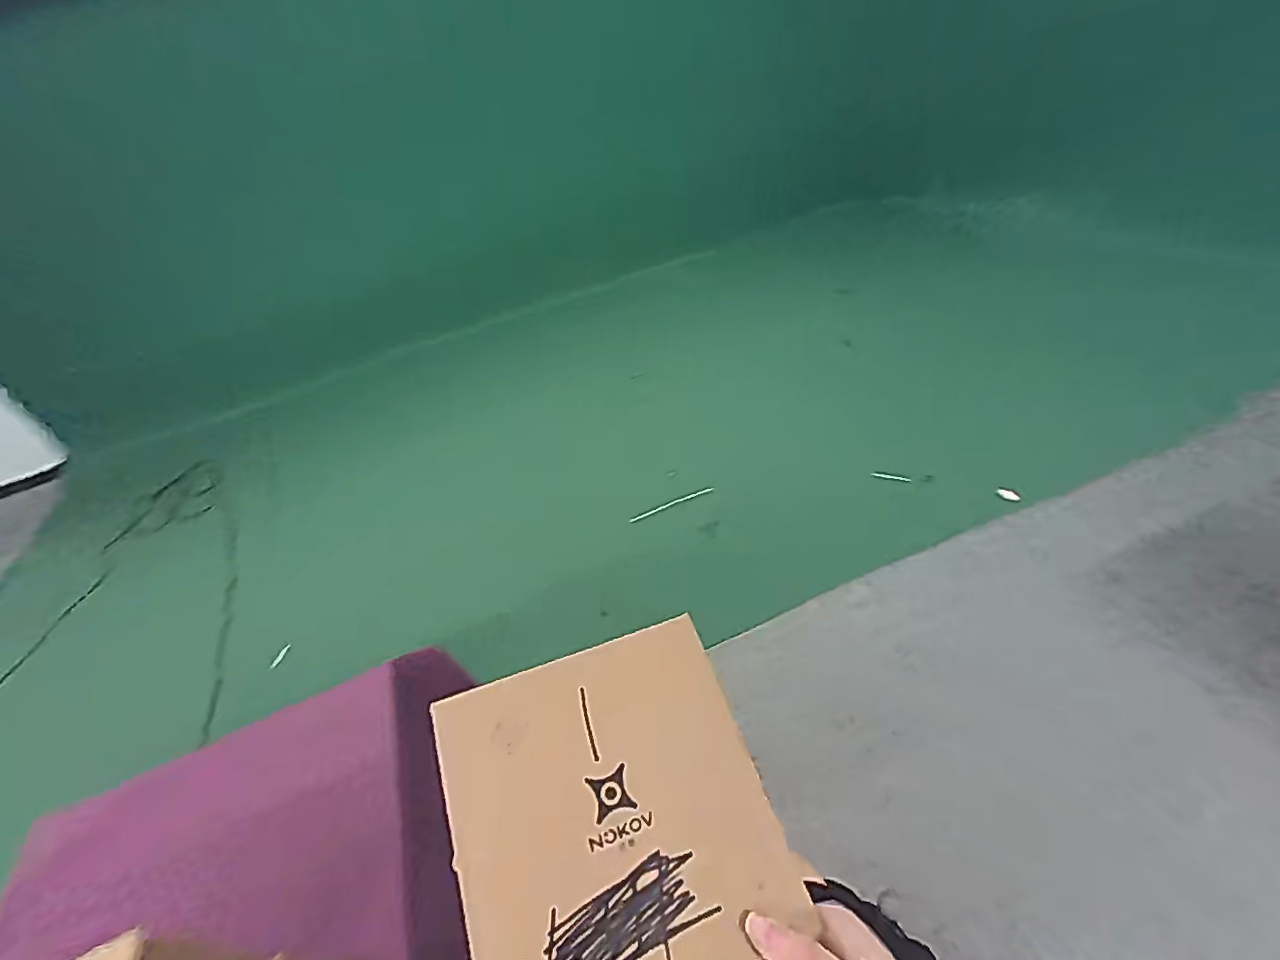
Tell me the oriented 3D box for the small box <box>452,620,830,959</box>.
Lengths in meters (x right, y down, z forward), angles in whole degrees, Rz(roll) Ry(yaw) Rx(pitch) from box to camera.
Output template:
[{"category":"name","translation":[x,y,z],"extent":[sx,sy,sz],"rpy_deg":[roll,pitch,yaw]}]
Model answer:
[{"category":"small box","translation":[-0.012,0.221,0.360],"extent":[0.168,0.176,0.179],"rpy_deg":[-15,60,-14]}]

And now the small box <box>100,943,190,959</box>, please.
[{"category":"small box","translation":[-0.428,0.506,0.414],"extent":[0.179,0.176,0.168],"rpy_deg":[-25,41,-9]}]
